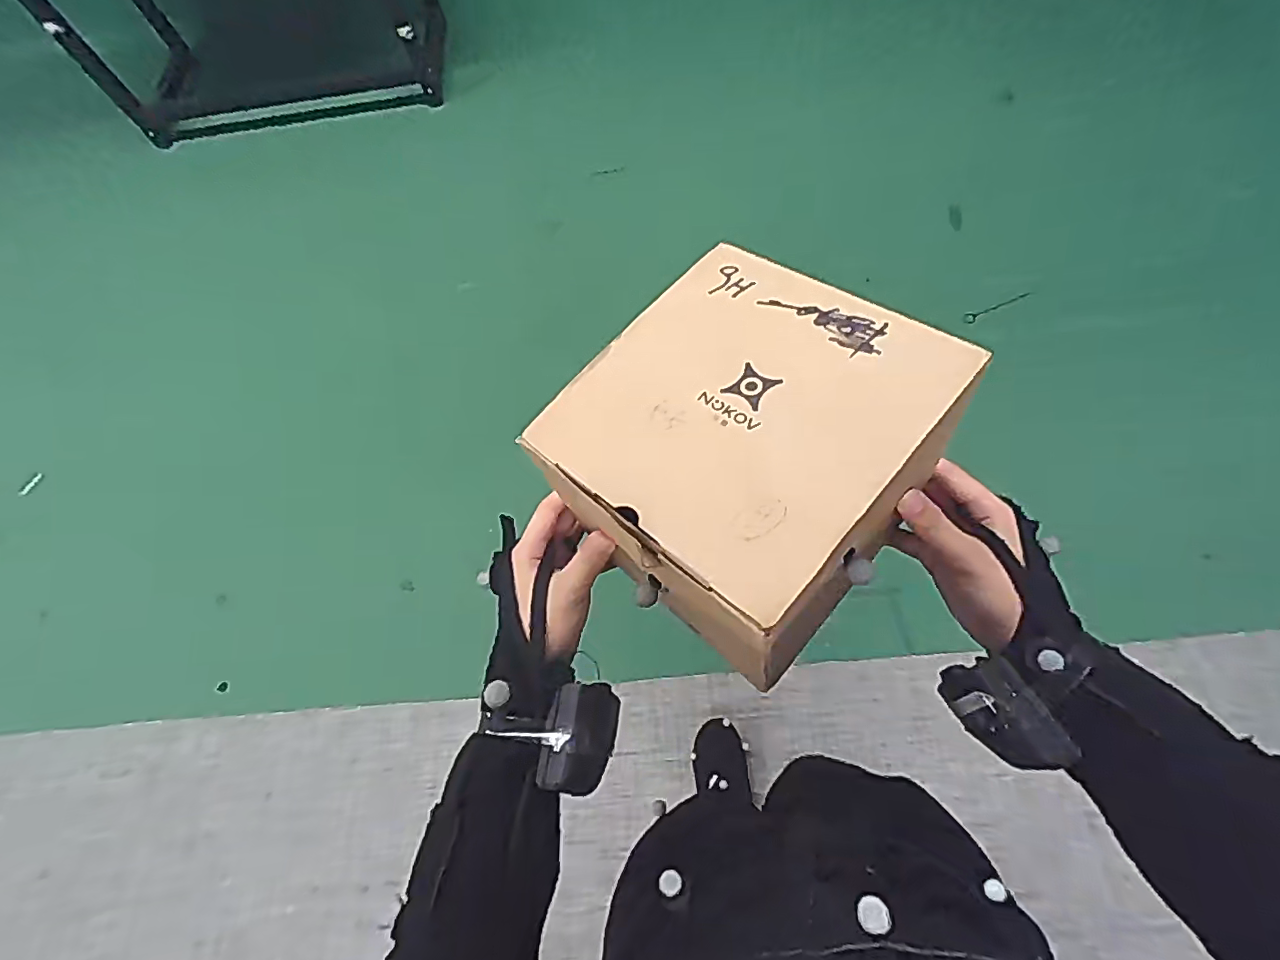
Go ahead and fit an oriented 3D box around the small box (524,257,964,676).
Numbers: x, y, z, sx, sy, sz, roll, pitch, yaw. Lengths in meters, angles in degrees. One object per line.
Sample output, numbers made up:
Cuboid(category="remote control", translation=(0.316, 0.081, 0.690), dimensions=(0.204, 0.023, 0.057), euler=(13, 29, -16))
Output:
Cuboid(category="small box", translation=(0.065, 0.000, 0.352), dimensions=(0.168, 0.176, 0.179), euler=(37, 75, 28))
